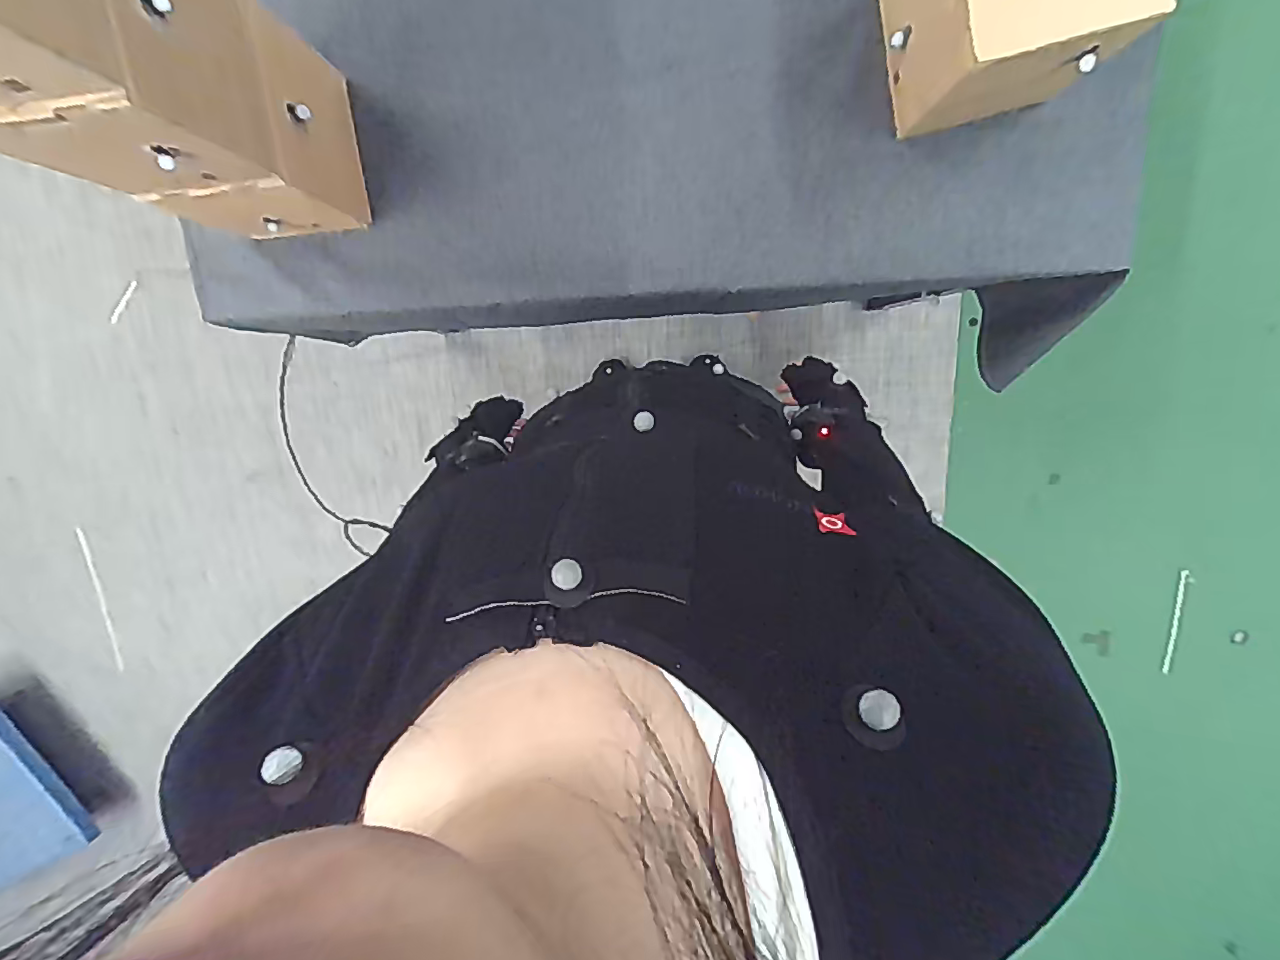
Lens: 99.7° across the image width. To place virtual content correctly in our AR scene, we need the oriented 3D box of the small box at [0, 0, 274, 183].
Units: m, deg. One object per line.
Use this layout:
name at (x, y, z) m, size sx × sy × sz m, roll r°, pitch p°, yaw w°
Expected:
small box at (-0.442, -0.361, 0.443) m, size 0.168 × 0.176 × 0.179 m, roll -4°, pitch 102°, yaw 2°

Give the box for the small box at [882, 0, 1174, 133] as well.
small box at (0.370, -0.487, 0.542) m, size 0.179 × 0.176 × 0.168 m, roll -12°, pitch 101°, yaw 6°

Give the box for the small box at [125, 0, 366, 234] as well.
small box at (-0.438, -0.393, 0.603) m, size 0.168 × 0.176 × 0.179 m, roll -5°, pitch 103°, yaw 3°

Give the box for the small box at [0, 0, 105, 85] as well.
small box at (-0.448, -0.333, 0.281) m, size 0.168 × 0.176 × 0.179 m, roll -6°, pitch 102°, yaw 2°
